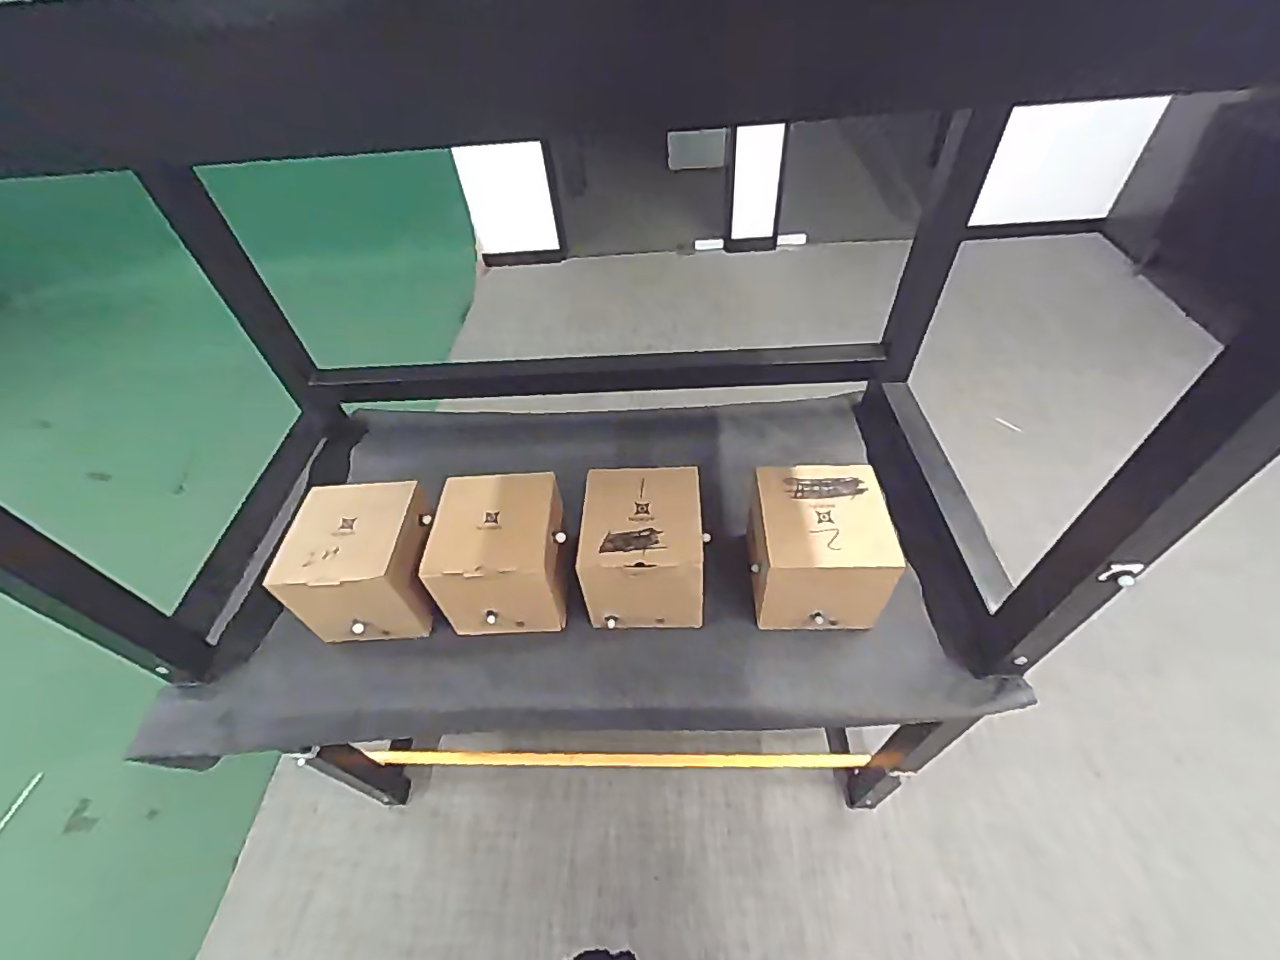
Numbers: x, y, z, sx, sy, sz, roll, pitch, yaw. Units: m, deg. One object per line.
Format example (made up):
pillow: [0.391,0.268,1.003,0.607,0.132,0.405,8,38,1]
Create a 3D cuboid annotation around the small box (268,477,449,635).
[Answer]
small box: [-0.408,0.117,0.824,0.168,0.176,0.179,-3,48,2]
